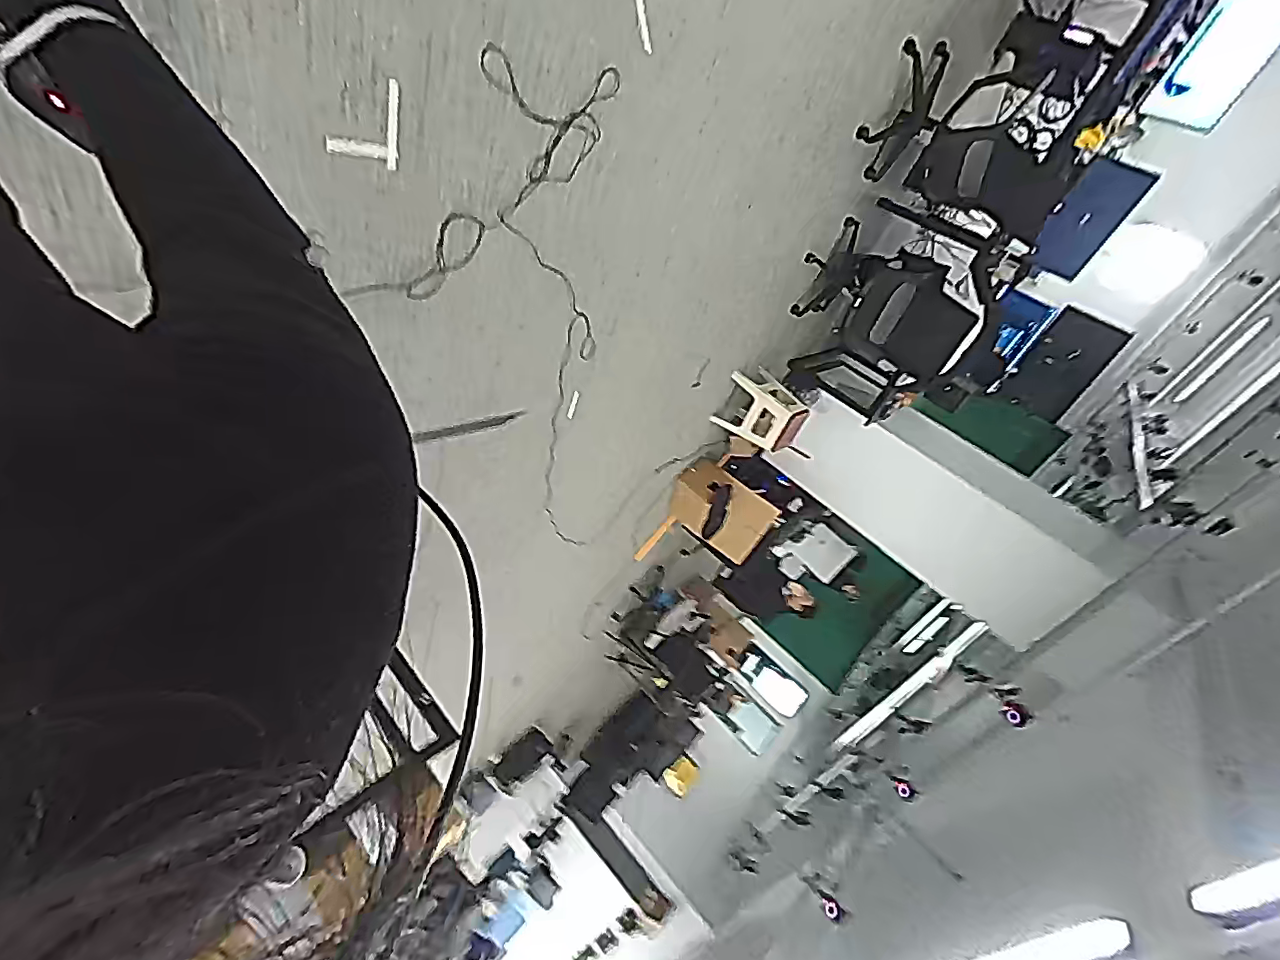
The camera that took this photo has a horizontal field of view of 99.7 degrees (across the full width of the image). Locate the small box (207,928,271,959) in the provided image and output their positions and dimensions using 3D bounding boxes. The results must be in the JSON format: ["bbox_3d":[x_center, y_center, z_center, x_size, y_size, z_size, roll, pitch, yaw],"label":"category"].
[{"bbox_3d":[-1.110,1.380,1.473,0.179,0.176,0.168,-28,149,-42],"label":"small box"}]

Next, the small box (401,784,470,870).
[{"bbox_3d":[-0.728,1.219,1.914,0.168,0.176,0.179,-24,147,-43],"label":"small box"}]

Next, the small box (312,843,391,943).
[{"bbox_3d":[-0.909,1.295,1.704,0.168,0.176,0.179,-25,146,-45],"label":"small box"}]
